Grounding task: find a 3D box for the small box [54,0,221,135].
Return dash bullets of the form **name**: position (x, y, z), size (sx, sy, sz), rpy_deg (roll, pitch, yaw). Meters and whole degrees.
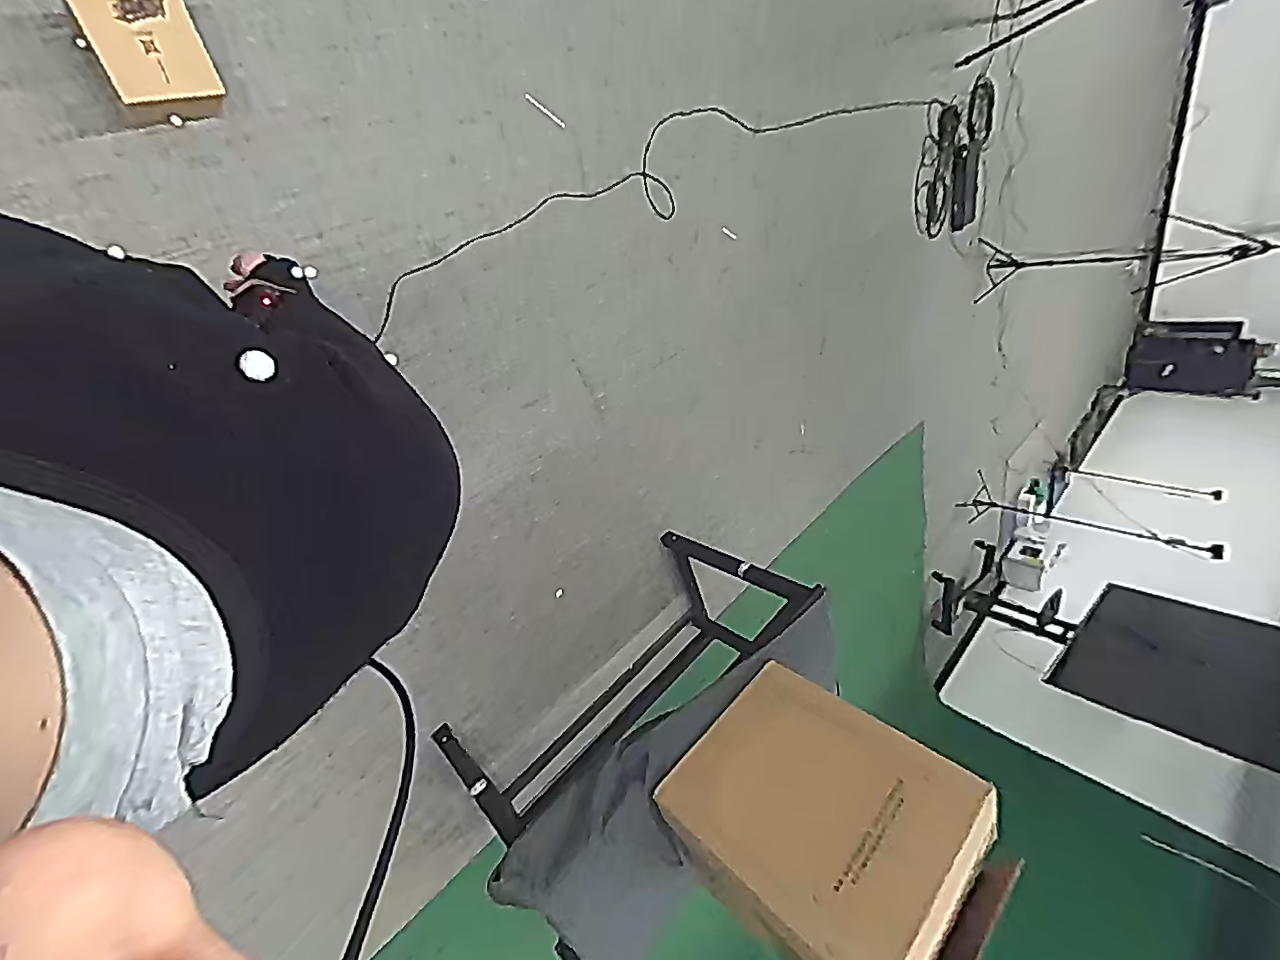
- **small box**: position (-0.929, -0.773, 1.007), size (0.168, 0.176, 0.179), rpy_deg (-33, 123, -30)
